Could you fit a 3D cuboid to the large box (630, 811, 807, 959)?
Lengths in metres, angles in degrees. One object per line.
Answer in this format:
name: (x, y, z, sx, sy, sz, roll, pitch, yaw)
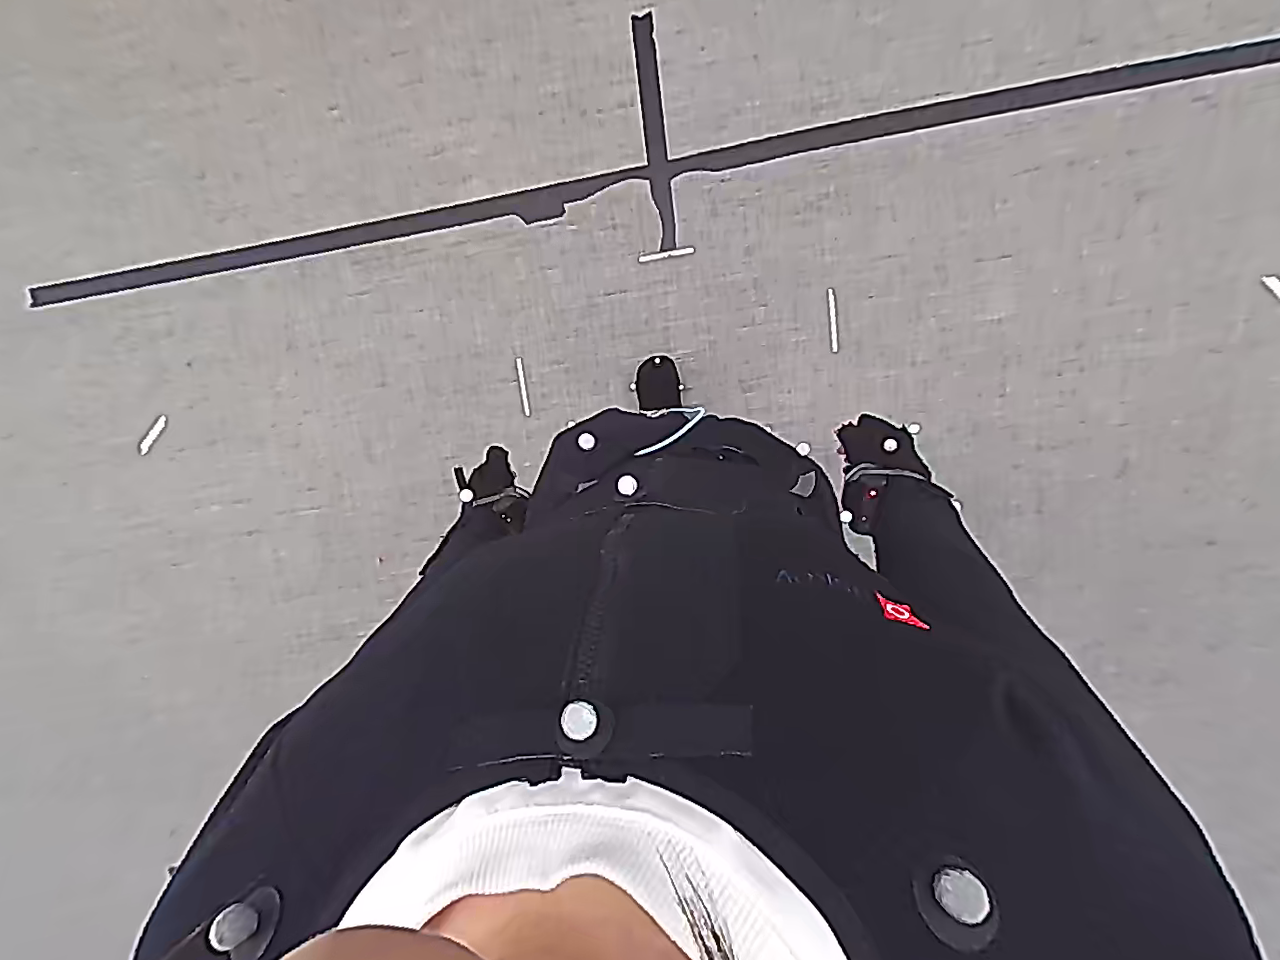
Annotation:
large box: (0.212, 1.178, 1.473, 0.408, 0.320, 0.320, -15, 99, 6)
